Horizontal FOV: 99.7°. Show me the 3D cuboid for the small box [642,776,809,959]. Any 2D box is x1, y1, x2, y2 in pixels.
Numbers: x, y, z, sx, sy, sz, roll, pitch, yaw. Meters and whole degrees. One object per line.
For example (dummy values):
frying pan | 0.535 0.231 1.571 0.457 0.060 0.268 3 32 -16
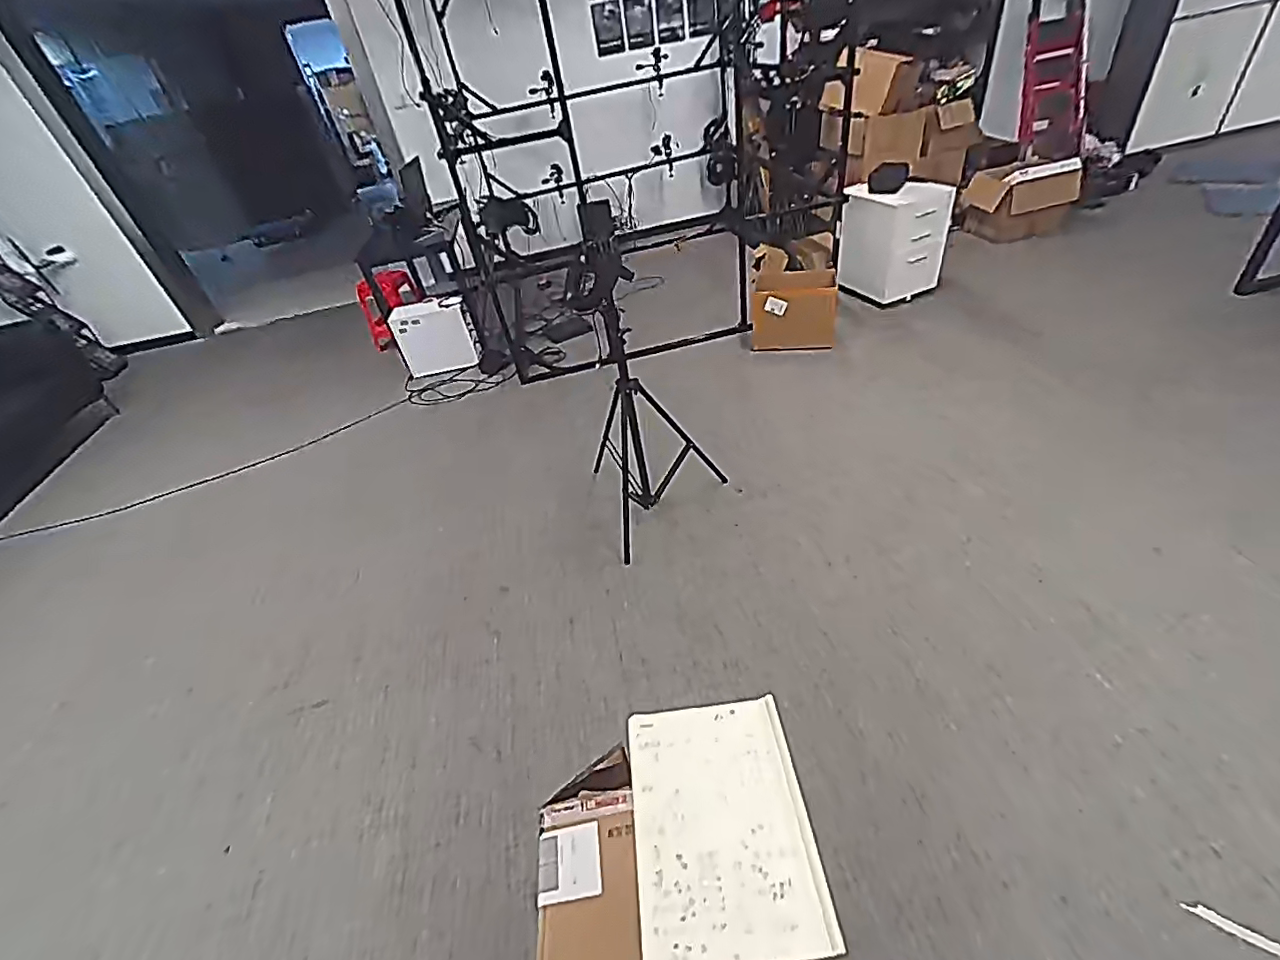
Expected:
small box | 0.094 0.497 0.666 0.168 0.176 0.179 -7 41 0
